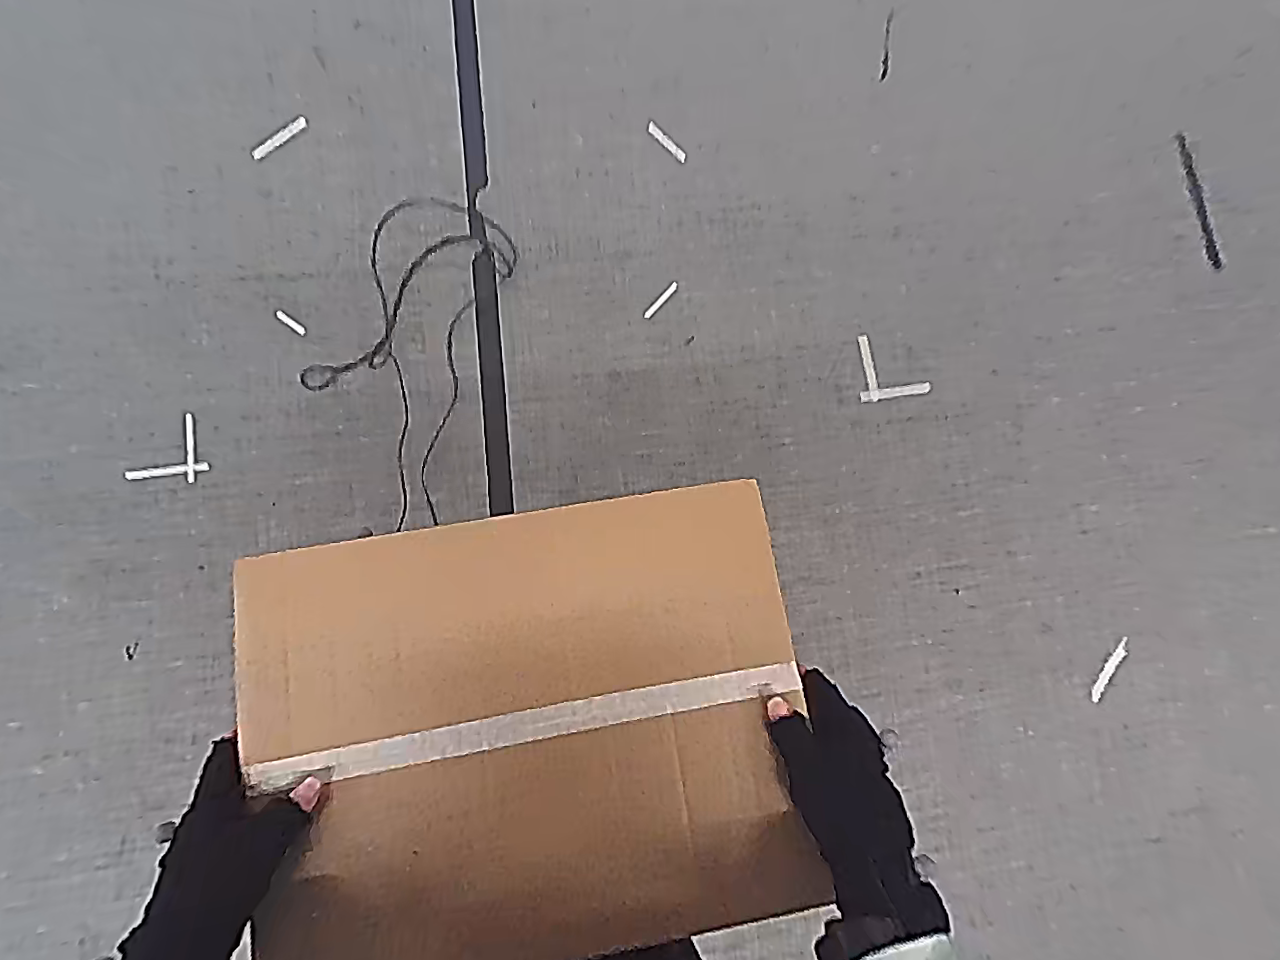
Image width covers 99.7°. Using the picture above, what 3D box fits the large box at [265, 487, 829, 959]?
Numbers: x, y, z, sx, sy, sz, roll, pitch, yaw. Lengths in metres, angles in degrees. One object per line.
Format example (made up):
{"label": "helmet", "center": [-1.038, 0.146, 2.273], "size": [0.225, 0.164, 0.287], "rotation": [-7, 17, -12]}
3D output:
{"label": "large box", "center": [-0.085, 0.216, 0.561], "size": [0.408, 0.320, 0.320], "rotation": [-9, 80, -4]}
